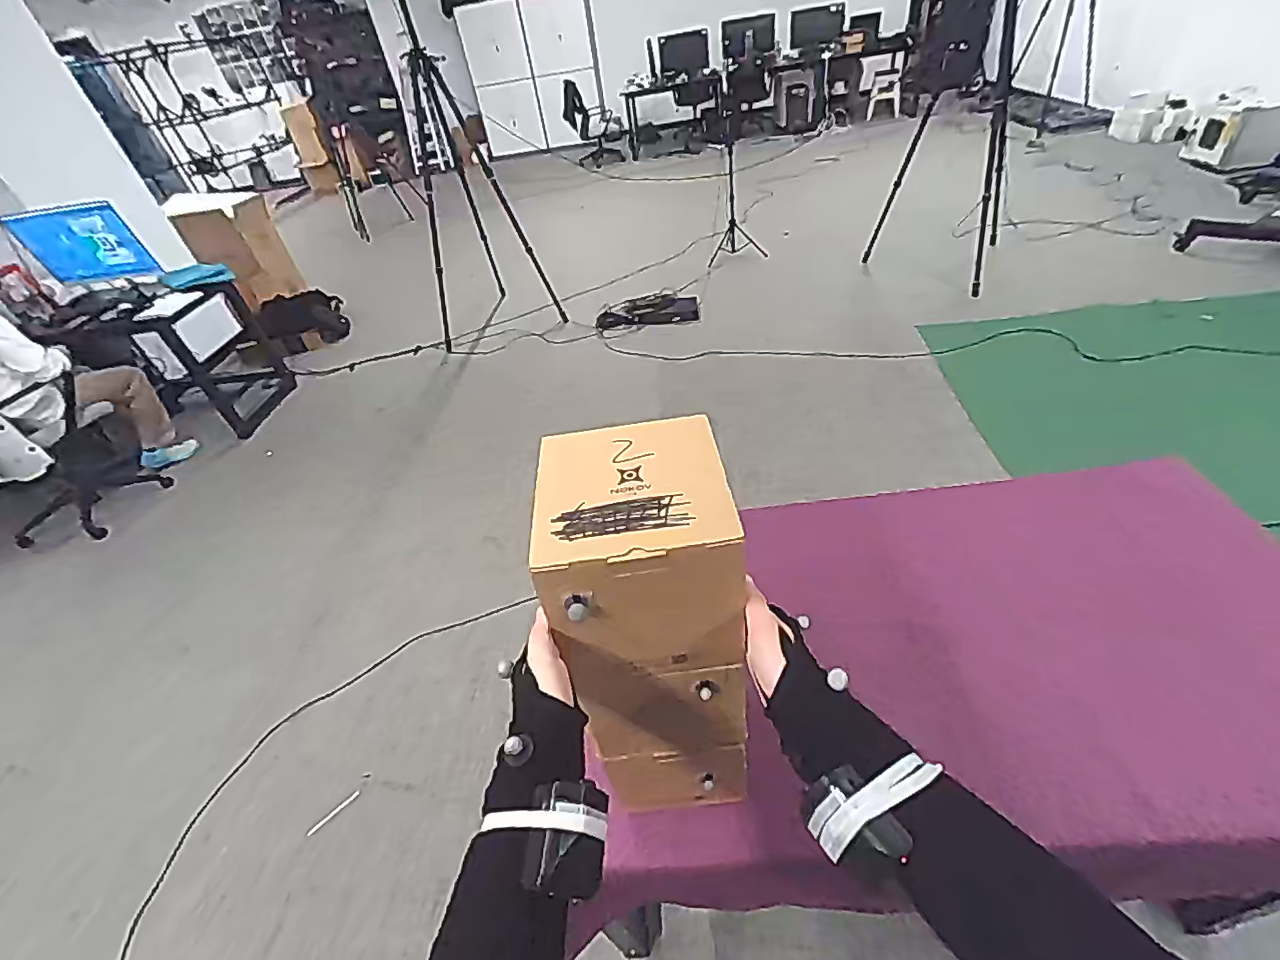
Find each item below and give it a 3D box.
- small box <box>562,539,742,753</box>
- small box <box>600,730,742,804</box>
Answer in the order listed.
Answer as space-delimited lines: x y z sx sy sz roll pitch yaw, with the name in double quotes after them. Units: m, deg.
0.016 0.193 0.622 0.179 0.176 0.168 -8 40 1 "small box"
0.043 0.315 0.727 0.168 0.176 0.179 -7 40 3 "small box"
